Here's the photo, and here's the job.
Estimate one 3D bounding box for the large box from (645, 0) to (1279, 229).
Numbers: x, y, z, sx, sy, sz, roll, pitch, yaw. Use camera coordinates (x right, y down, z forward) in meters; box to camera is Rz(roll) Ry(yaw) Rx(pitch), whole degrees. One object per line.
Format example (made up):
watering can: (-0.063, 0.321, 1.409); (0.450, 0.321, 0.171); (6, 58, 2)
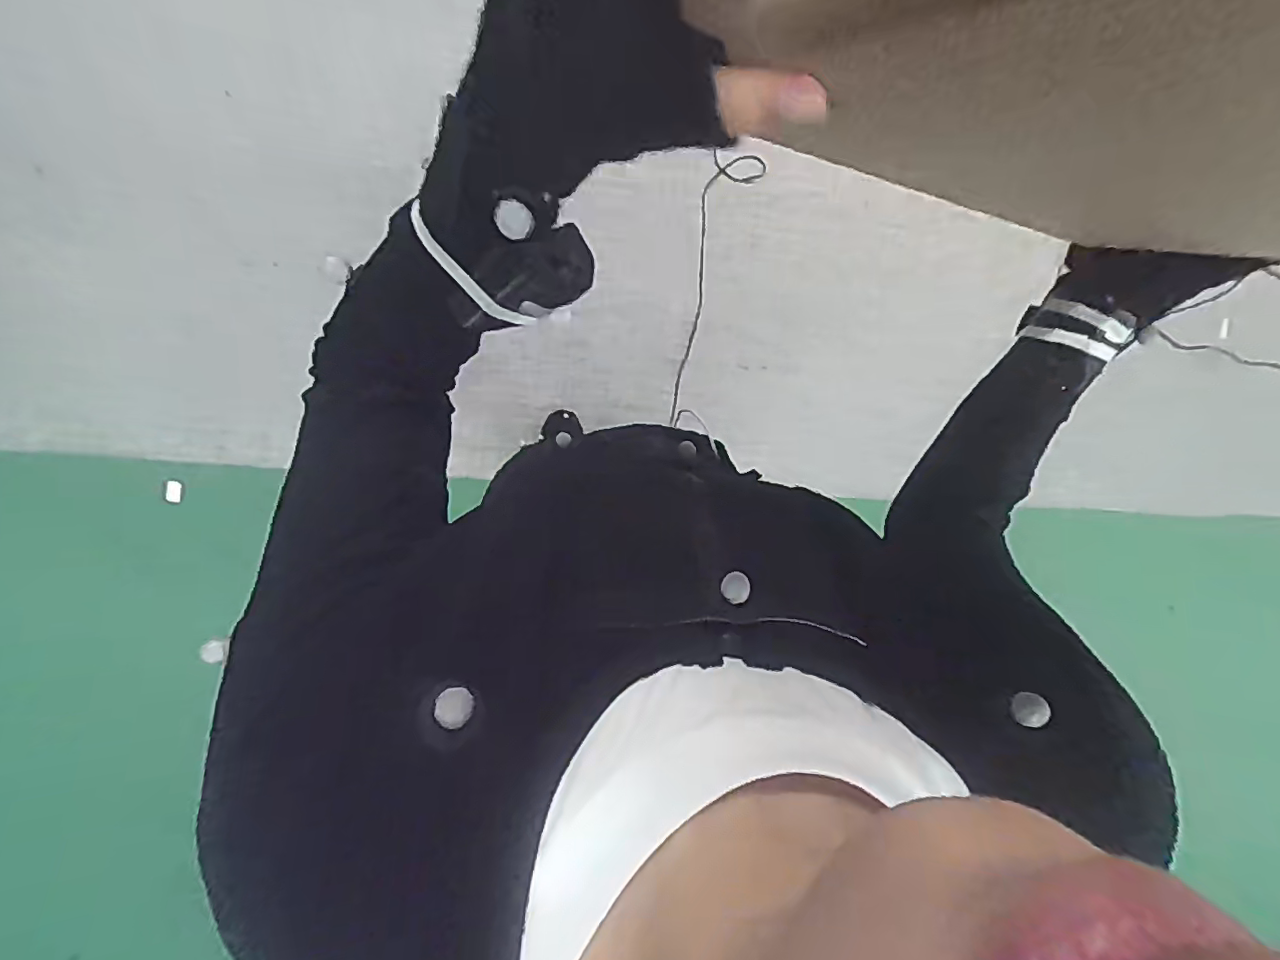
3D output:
large box: (0.258, -0.256, 0.139); (0.408, 0.320, 0.320); (-4, 118, -29)
